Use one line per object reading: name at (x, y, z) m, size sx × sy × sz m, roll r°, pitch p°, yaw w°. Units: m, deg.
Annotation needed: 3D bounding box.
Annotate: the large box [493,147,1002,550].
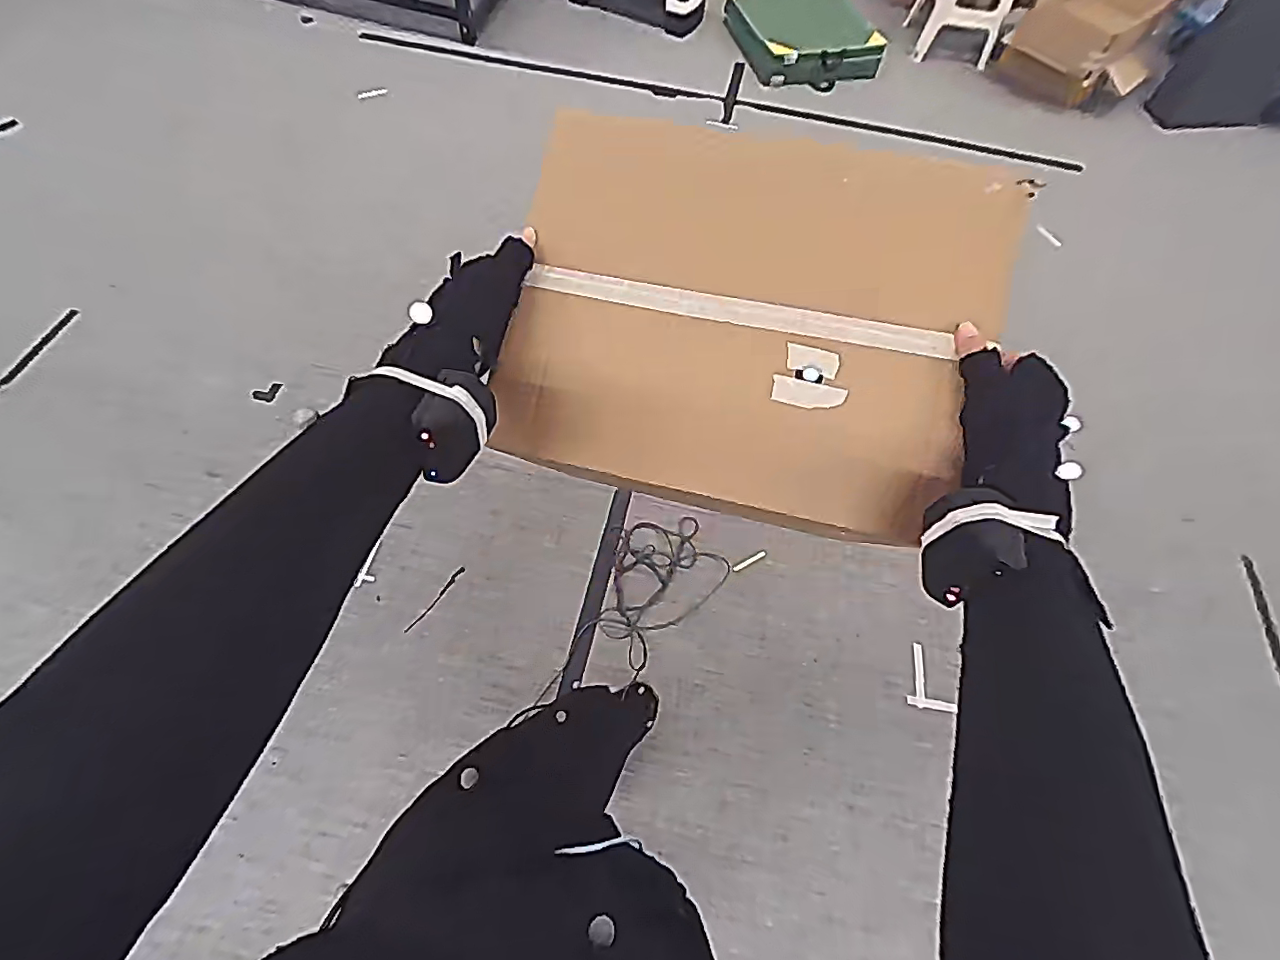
large box at (0.102, -0.117, 0.626) m, size 0.408 × 0.320 × 0.320 m, roll 13°, pitch 88°, yaw 7°
